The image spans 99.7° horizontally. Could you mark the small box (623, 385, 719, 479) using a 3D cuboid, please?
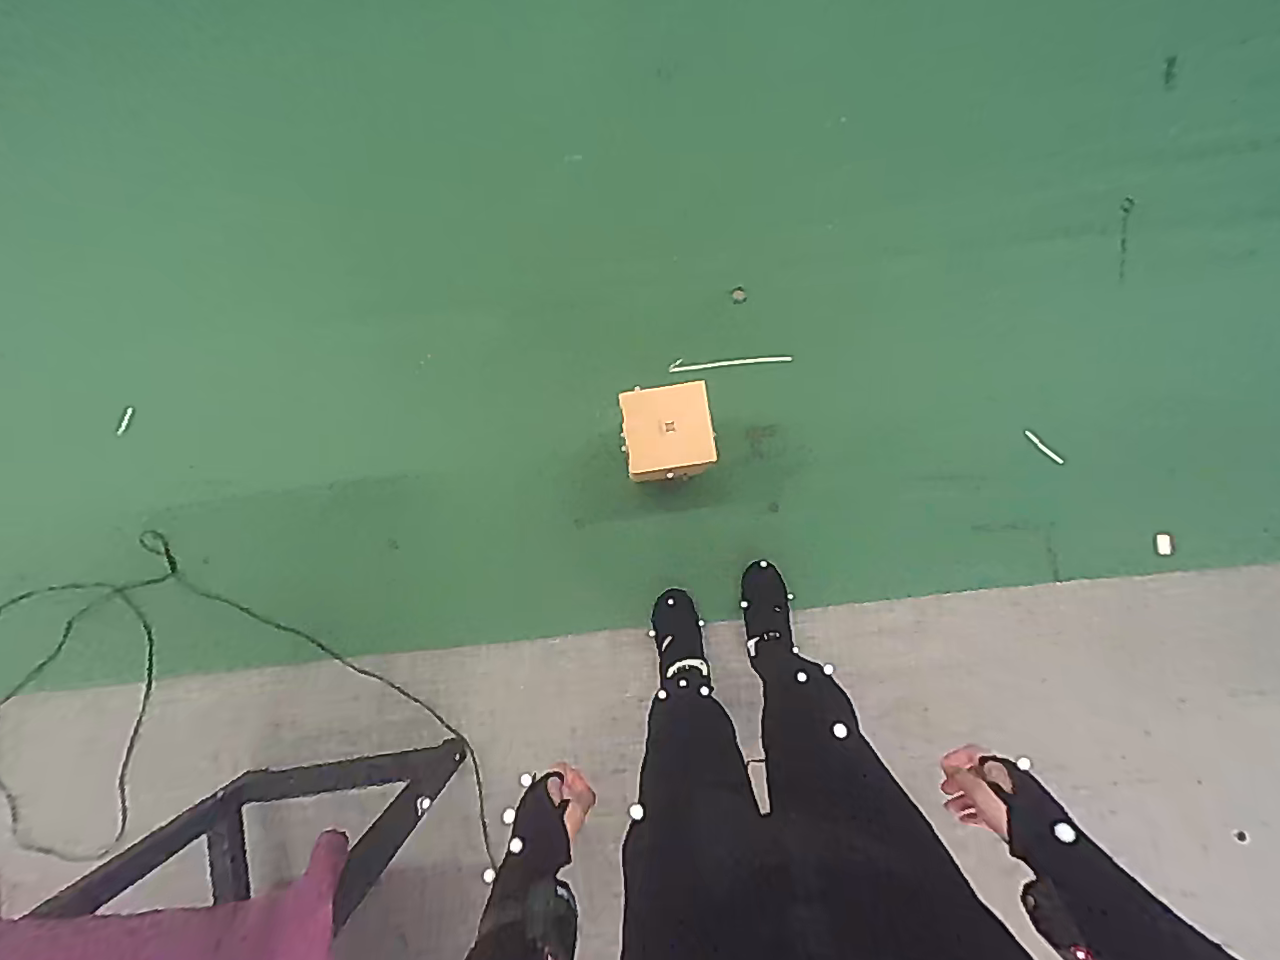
[{"bbox_3d":[0.065,-0.097,1.154,0.179,0.176,0.168,-9,87,3],"label":"small box"}]

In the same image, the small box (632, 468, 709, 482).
[{"bbox_3d":[0.065,-0.085,1.317,0.179,0.176,0.168,-6,87,2],"label":"small box"}]
